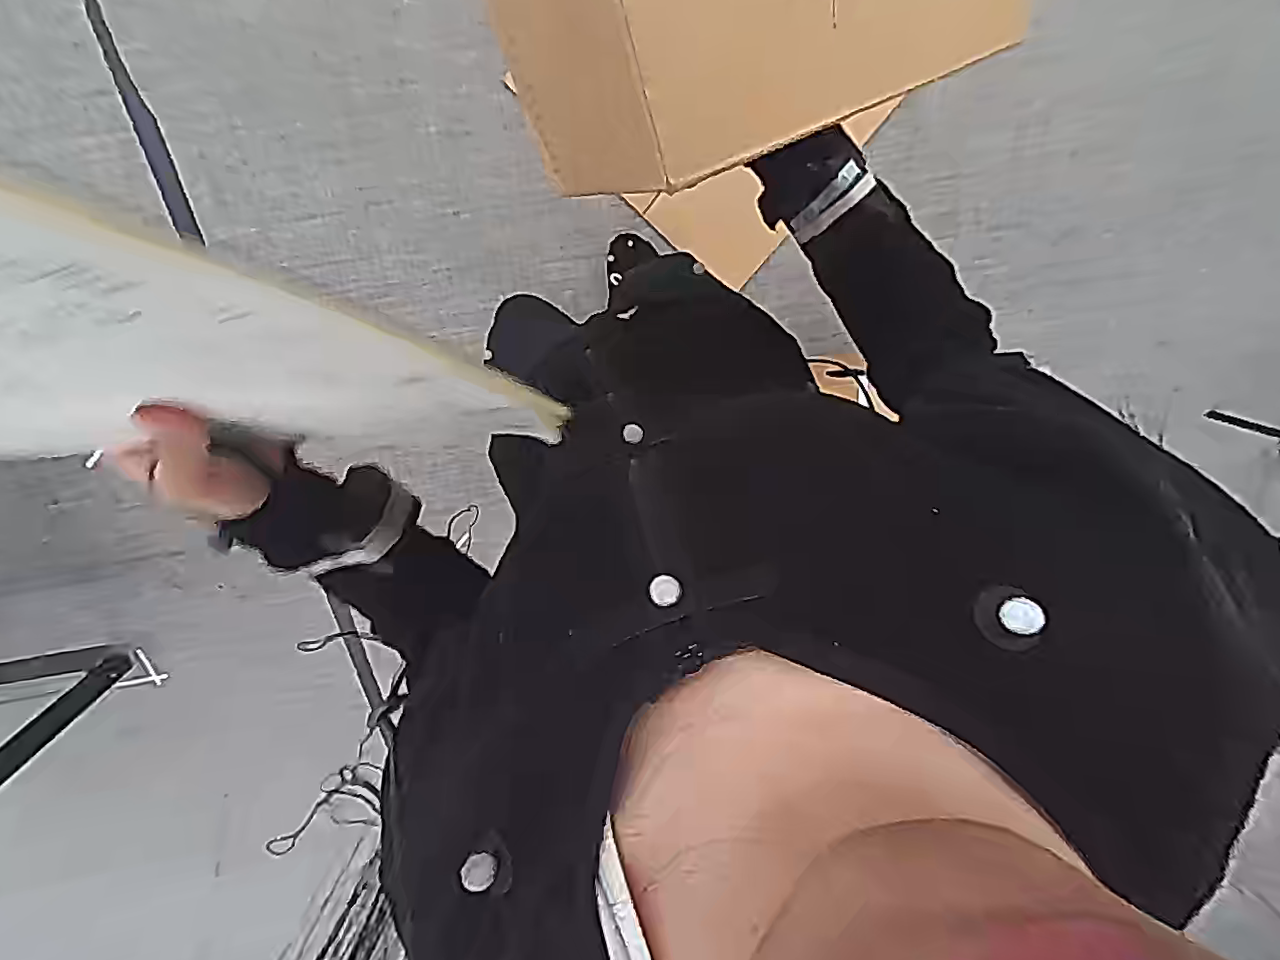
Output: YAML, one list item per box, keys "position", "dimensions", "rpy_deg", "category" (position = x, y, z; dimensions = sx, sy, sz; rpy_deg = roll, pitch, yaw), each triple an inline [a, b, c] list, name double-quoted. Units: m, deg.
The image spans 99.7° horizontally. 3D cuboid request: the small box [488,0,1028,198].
- position: [0.025, -0.235, 0.223]
  dimensions: [0.168, 0.176, 0.179]
  rpy_deg: [-27, 123, -9]
  category: "small box"
